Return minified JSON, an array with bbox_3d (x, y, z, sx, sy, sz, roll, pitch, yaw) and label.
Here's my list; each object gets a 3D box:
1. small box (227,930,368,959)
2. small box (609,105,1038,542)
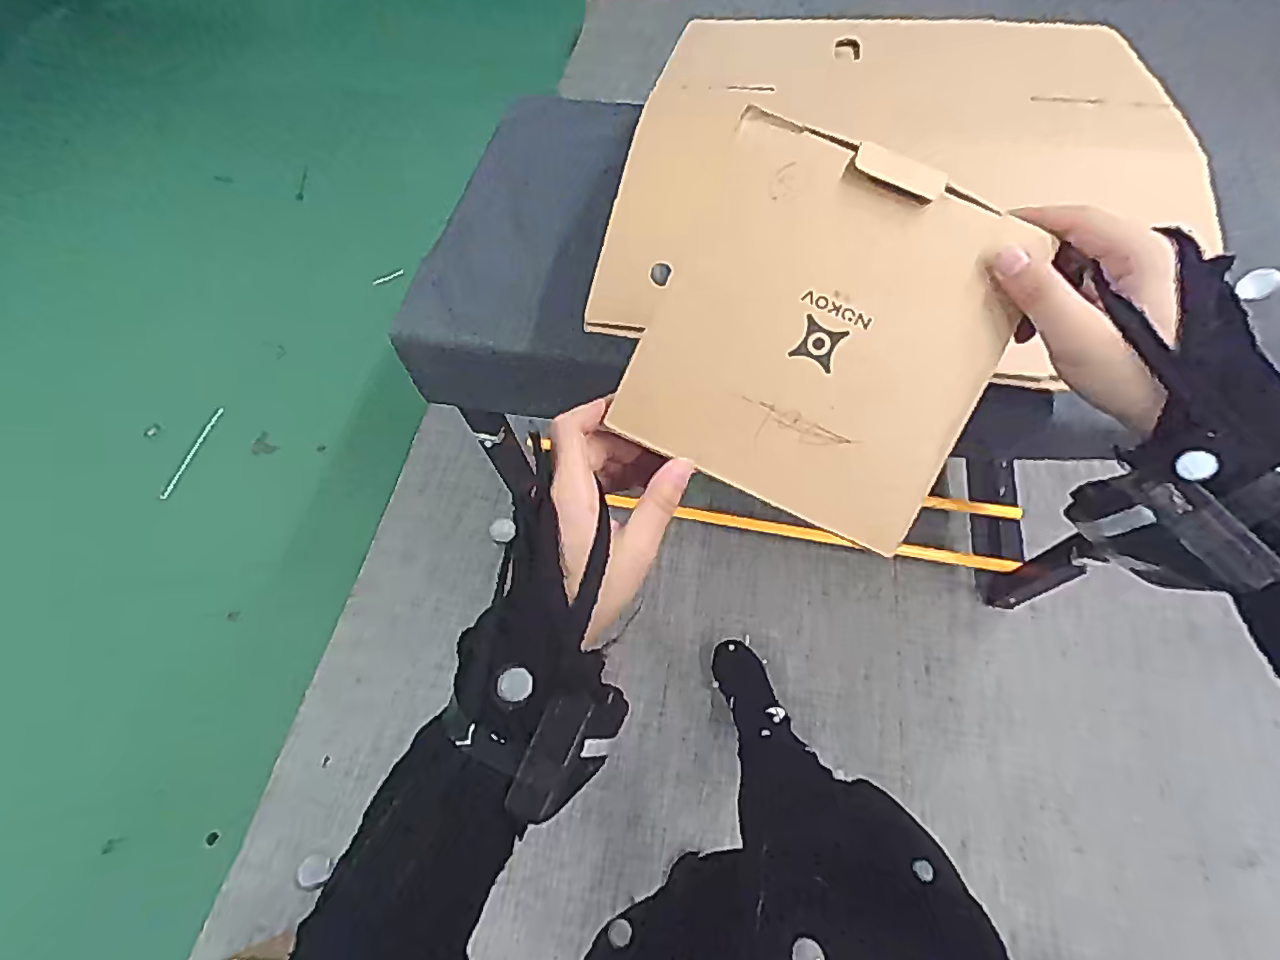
[{"bbox_3d":[-0.611,0.915,0.944,0.179,0.176,0.168,-1,62,5],"label":"small box"},{"bbox_3d":[0.095,-0.084,0.356,0.168,0.176,0.179,25,96,3],"label":"small box"}]
